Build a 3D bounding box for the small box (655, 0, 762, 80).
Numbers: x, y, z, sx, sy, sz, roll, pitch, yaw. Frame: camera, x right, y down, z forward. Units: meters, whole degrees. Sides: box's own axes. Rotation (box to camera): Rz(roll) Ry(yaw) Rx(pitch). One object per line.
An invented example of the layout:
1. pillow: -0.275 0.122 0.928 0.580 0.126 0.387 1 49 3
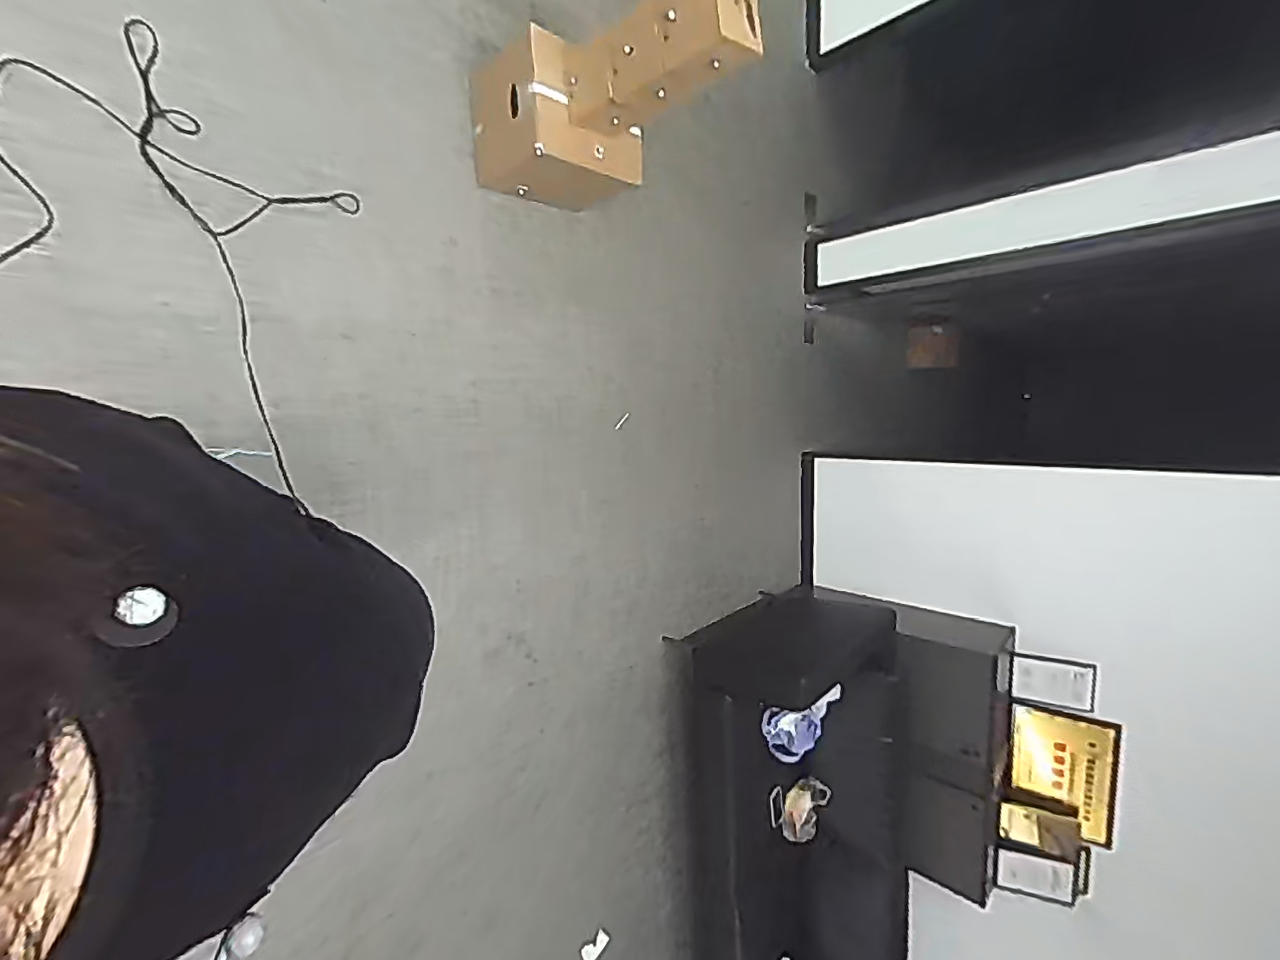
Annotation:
1. small box: 0.157 -1.059 1.242 0.179 0.176 0.168 -23 109 -42
